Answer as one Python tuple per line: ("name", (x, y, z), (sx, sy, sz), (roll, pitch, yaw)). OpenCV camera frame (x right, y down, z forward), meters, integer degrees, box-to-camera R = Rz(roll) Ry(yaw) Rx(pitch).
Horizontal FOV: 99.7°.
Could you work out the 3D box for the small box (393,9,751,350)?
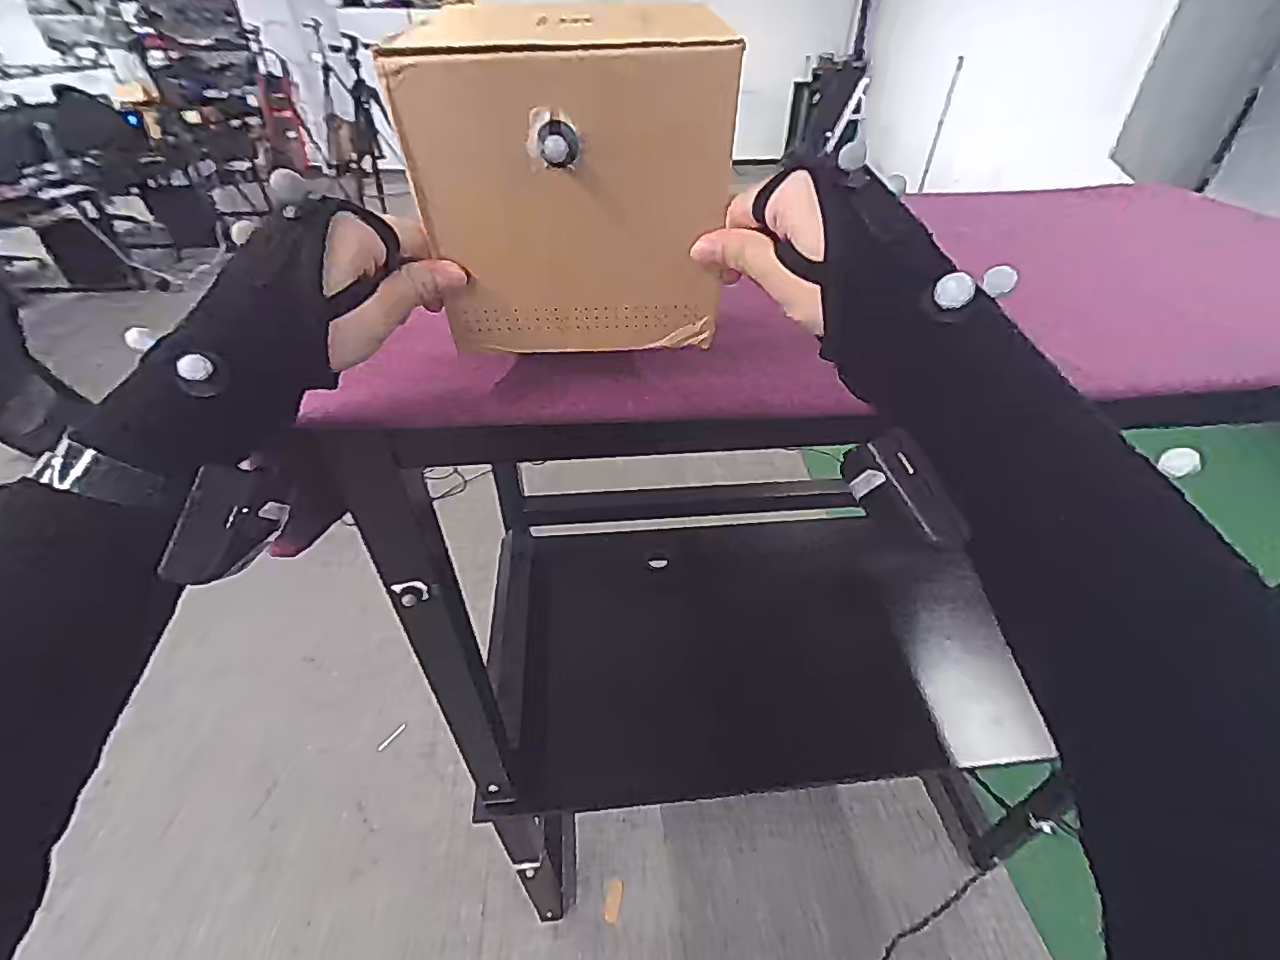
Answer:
("small box", (-0.032, -0.201, 0.369), (0.179, 0.176, 0.168), (-1, 46, 0))
